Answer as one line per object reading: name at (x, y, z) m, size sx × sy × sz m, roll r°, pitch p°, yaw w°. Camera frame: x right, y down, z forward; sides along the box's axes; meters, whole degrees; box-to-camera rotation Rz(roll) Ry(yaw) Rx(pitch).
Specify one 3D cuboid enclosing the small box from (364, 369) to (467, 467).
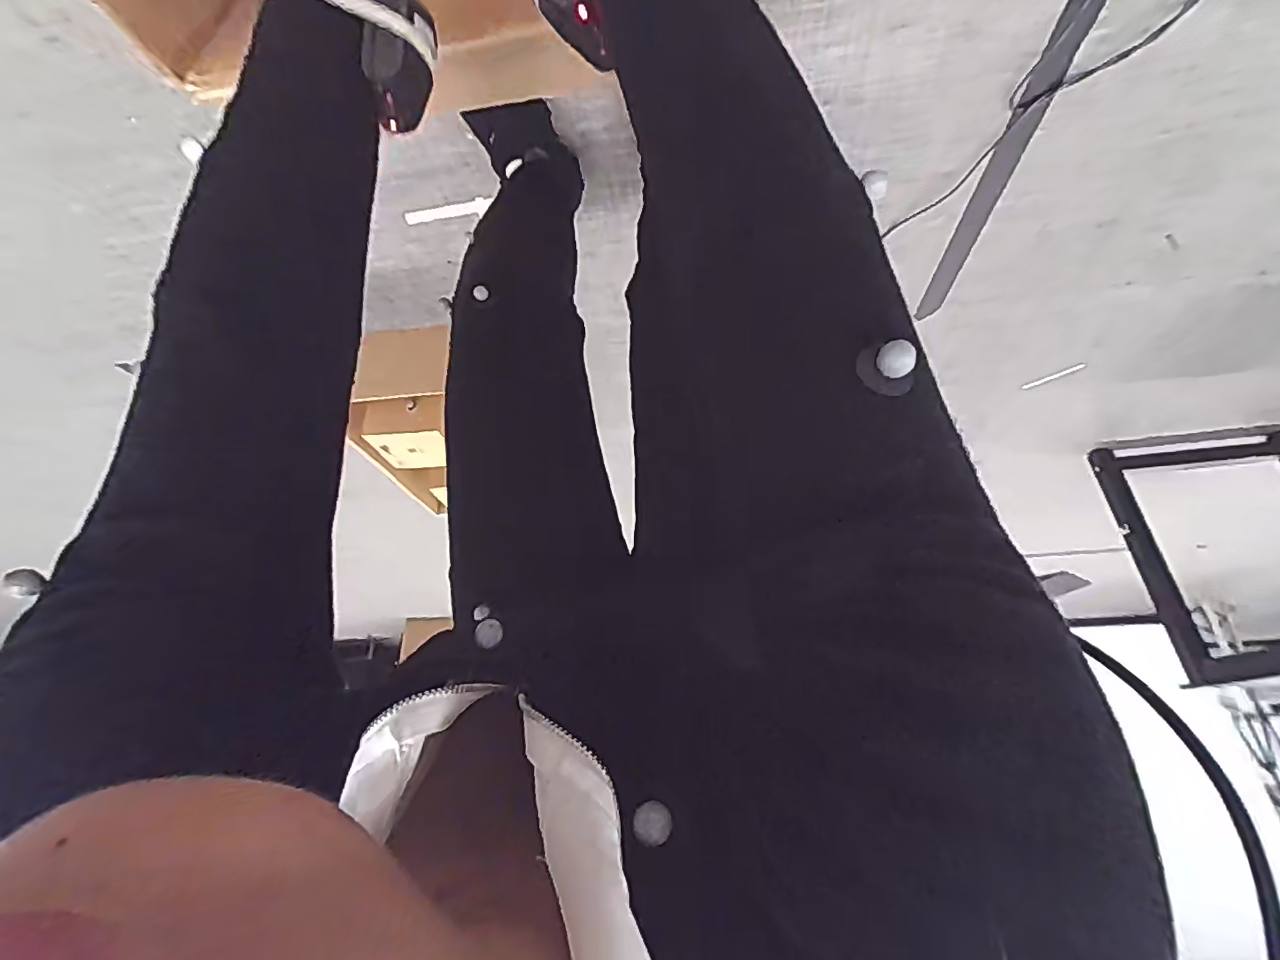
small box at (-0.517, -0.146, 1.275) m, size 0.179 × 0.176 × 0.168 m, roll -5°, pitch 154°, yaw 2°
